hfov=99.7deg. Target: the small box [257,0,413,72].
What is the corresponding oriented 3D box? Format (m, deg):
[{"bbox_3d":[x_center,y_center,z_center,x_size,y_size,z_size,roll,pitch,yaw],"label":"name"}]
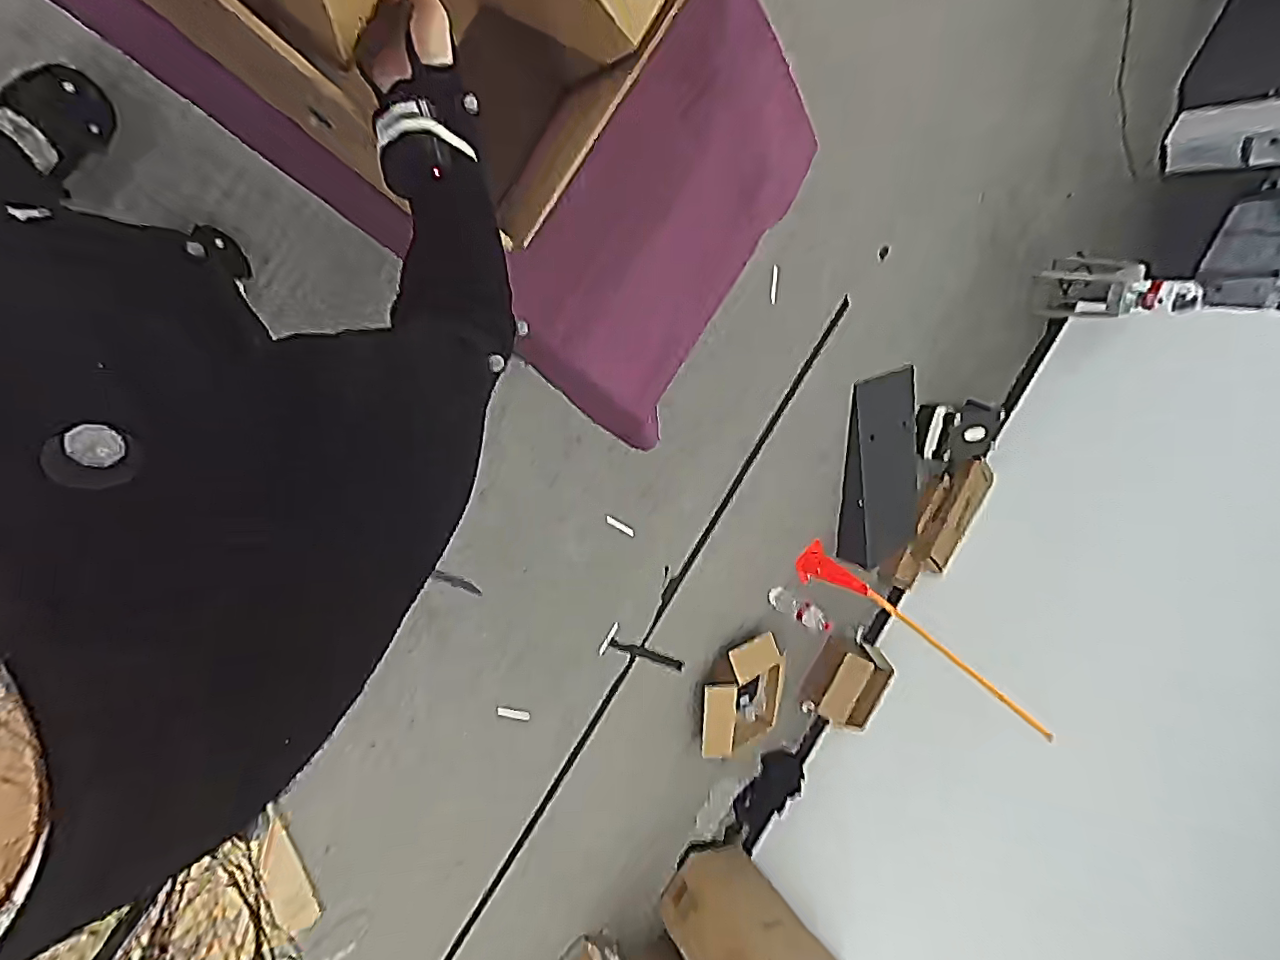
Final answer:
[{"bbox_3d":[-0.248,-0.454,0.382,0.168,0.176,0.179,31,86,-16],"label":"small box"}]
